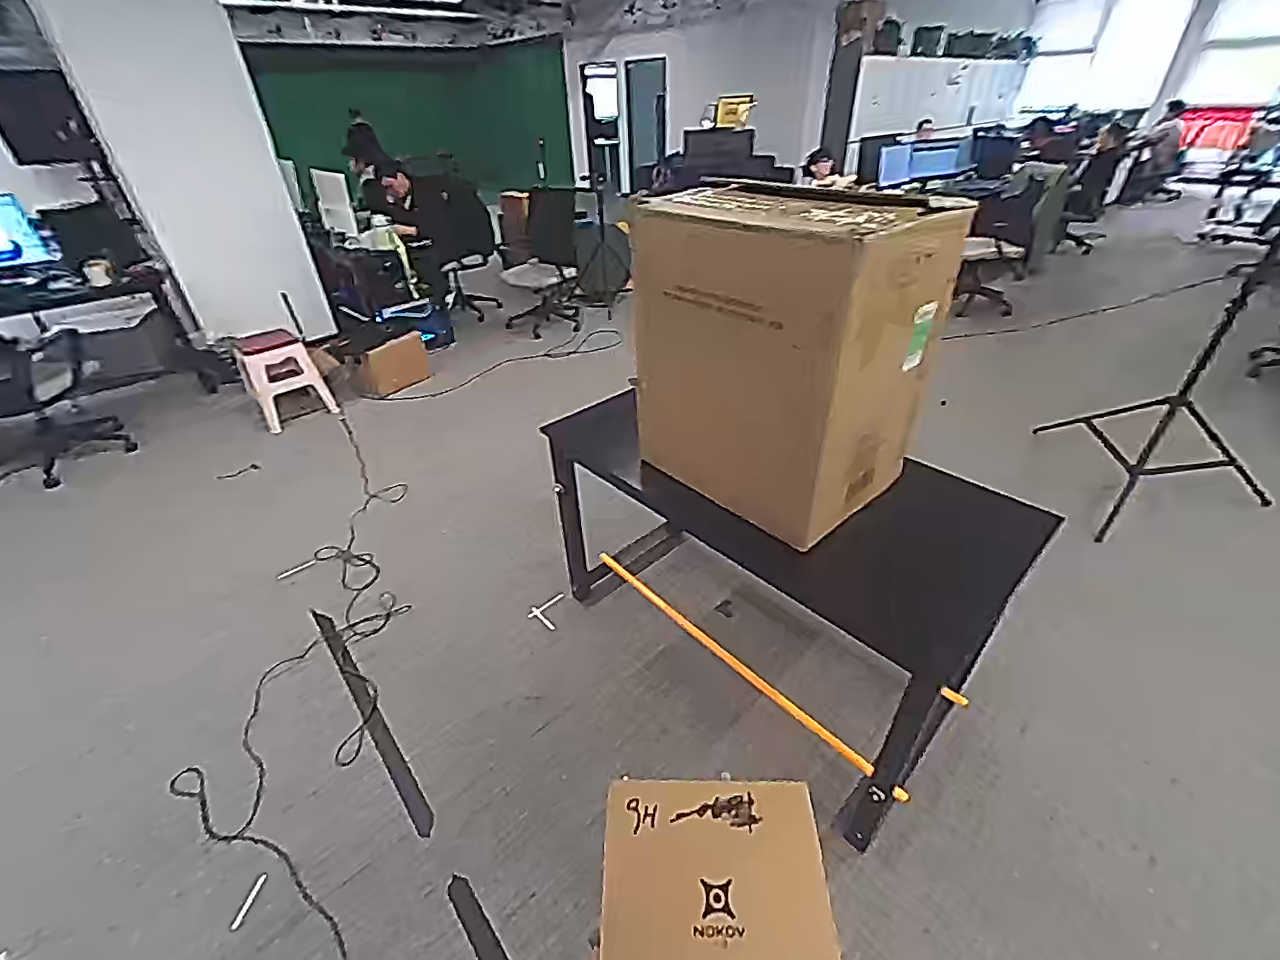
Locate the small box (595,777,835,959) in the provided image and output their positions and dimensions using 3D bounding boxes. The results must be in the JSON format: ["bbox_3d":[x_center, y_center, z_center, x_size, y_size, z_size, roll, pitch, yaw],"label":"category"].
[{"bbox_3d":[0.053,0.363,0.440,0.168,0.176,0.179,0,45,0],"label":"small box"}]
